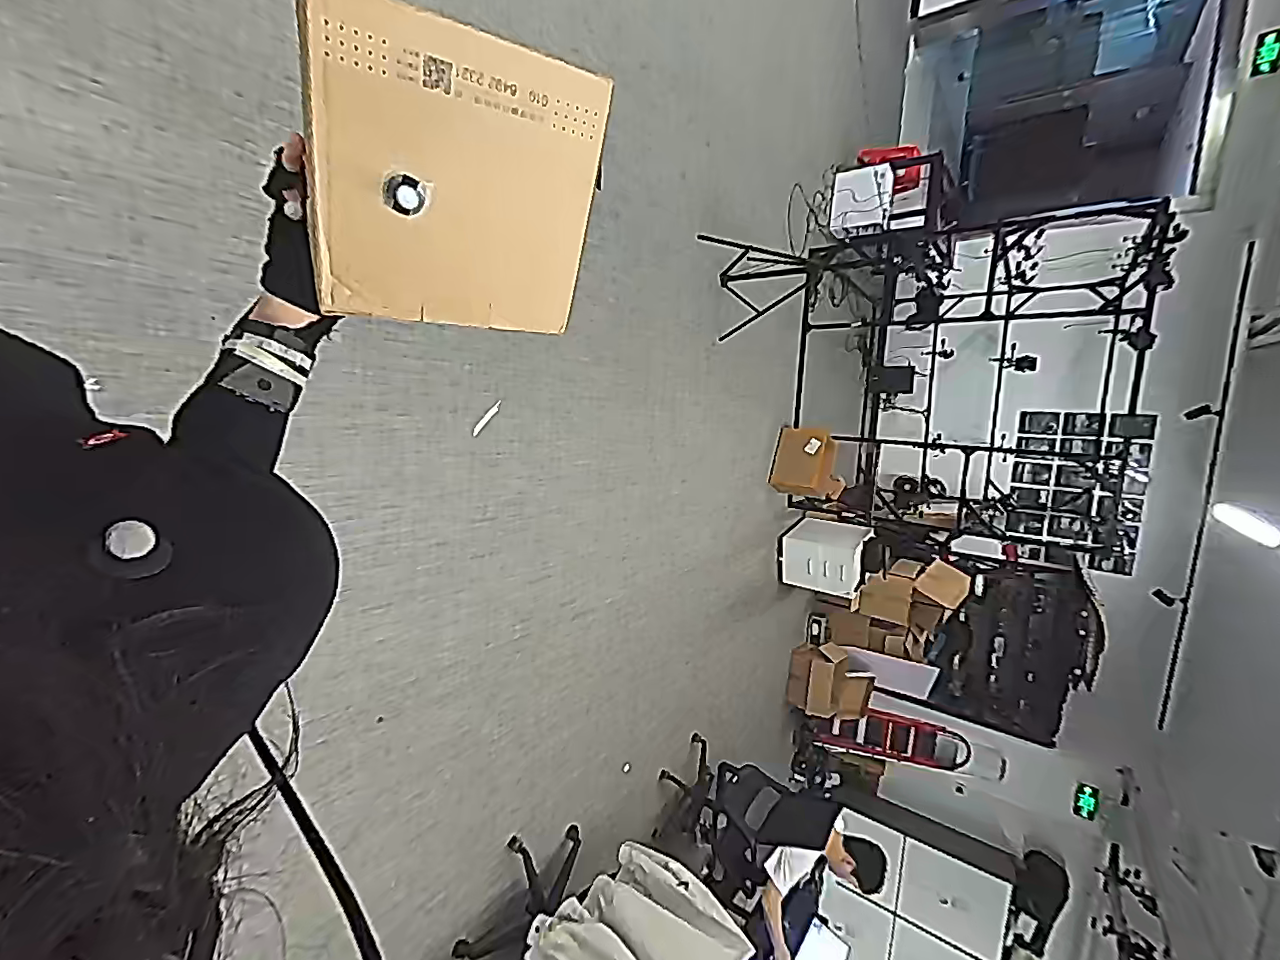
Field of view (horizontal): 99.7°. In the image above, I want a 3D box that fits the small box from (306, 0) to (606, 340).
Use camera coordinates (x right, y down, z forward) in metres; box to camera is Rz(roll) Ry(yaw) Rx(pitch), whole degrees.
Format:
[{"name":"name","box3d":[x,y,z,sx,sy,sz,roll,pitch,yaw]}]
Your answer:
[{"name":"small box","box3d":[-0.138,-0.219,0.386,0.168,0.179,0.176,-2,125,-33]}]
